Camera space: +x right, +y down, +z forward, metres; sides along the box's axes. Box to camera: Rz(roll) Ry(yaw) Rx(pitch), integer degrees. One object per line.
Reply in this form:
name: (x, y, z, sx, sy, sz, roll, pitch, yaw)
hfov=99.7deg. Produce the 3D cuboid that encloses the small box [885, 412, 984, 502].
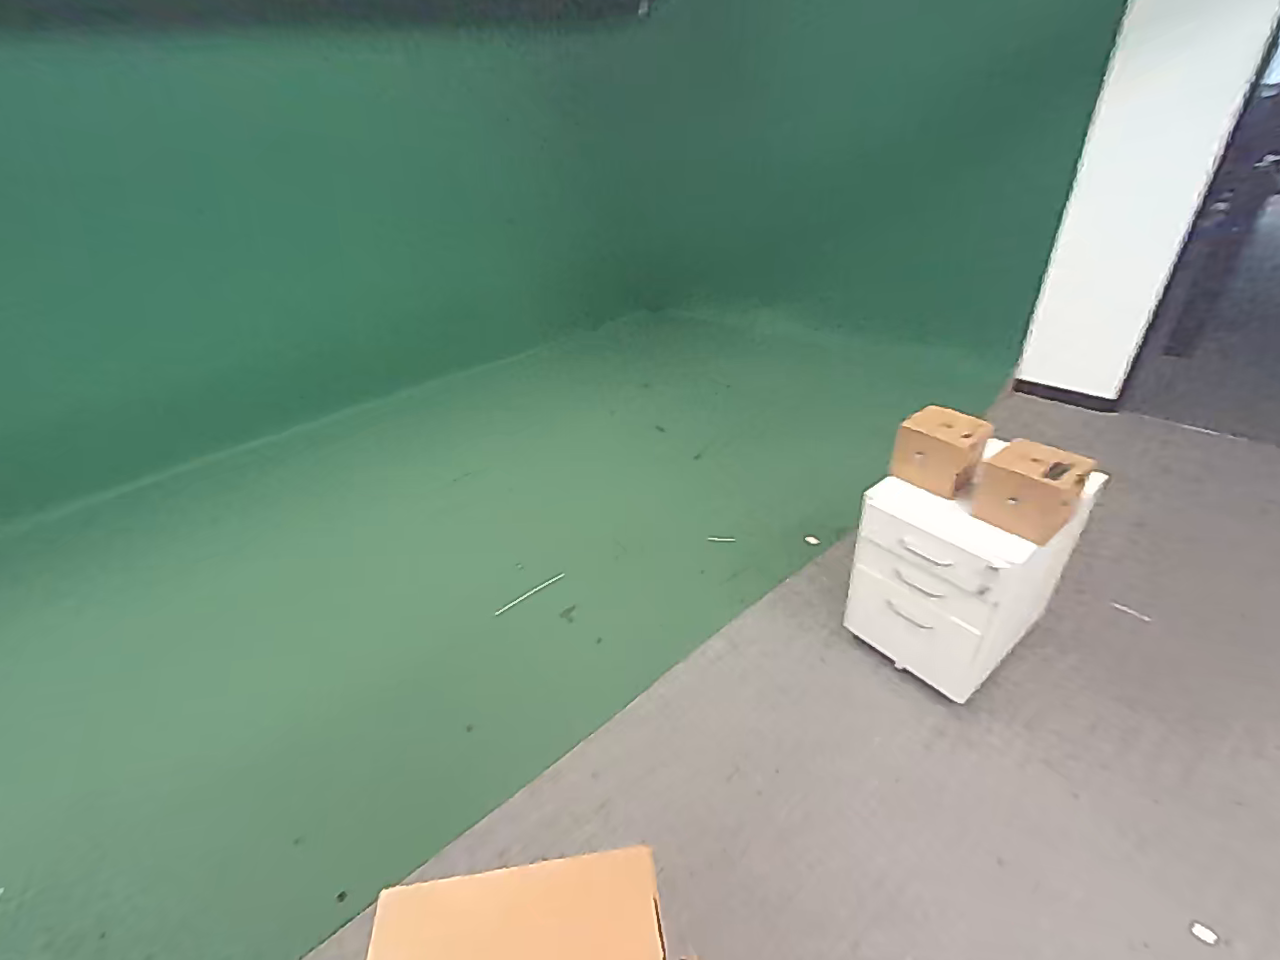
small box: (0.815, -0.065, 1.512, 0.168, 0.176, 0.179, -28, 40, -29)
